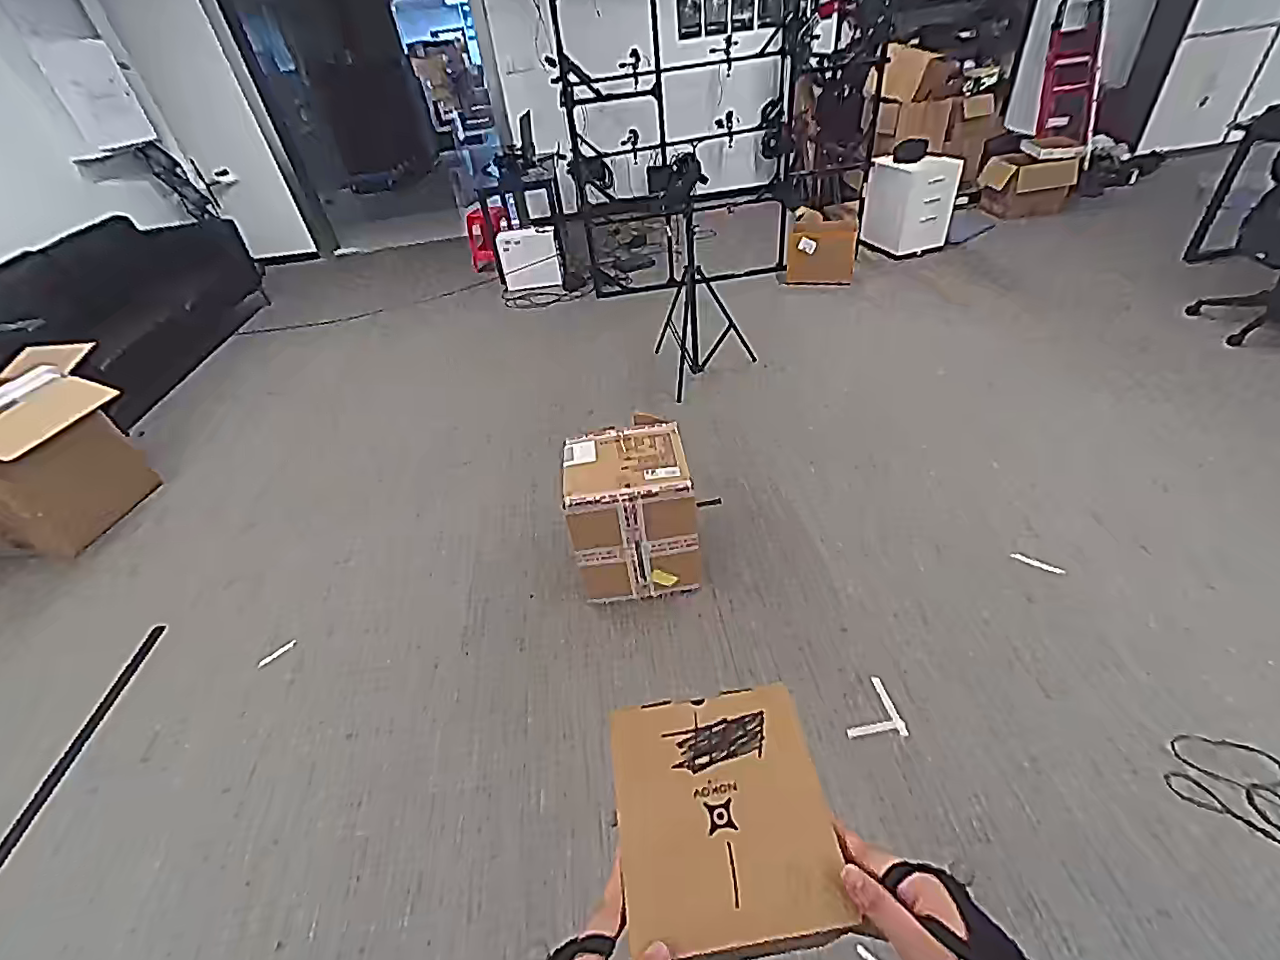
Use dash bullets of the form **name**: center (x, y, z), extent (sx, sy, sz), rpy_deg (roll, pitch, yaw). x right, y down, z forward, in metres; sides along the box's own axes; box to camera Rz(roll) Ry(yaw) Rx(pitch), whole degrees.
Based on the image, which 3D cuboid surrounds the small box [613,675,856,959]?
- **small box**: center (0.069, 0.307, 0.494), extent (0.168, 0.176, 0.179), rpy_deg (-8, 45, -2)
